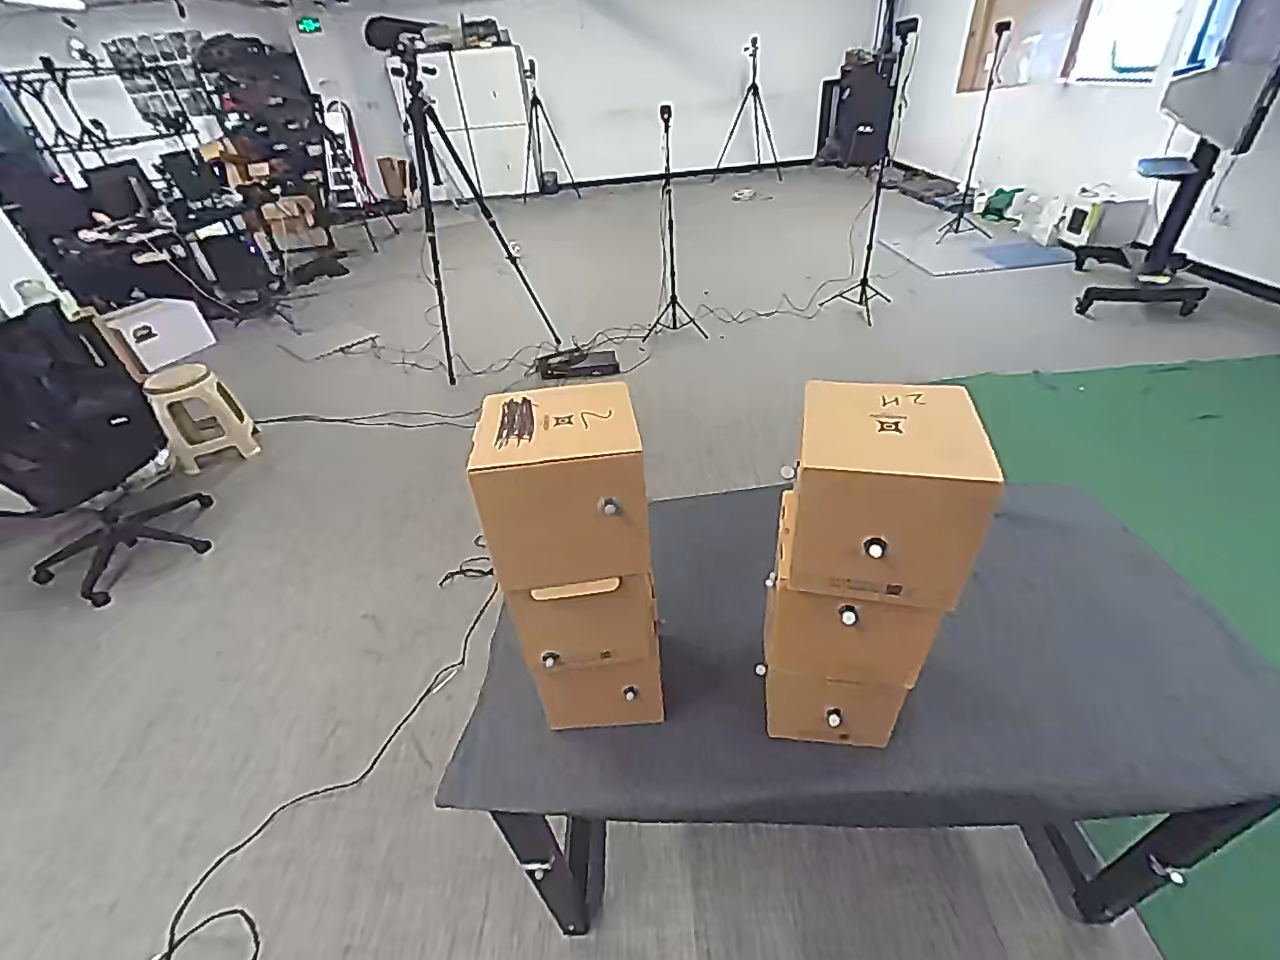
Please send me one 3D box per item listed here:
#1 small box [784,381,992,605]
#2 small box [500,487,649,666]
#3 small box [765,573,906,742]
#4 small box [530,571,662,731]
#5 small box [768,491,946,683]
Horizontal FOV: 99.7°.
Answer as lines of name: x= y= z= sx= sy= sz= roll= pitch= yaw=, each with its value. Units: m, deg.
small box: x=0.246 y=0.010 z=0.578 sx=0.168 sy=0.176 sz=0.179 roll=5 pitch=38 yaw=15
small box: x=-0.083 y=0.135 z=0.738 sx=0.168 sy=0.176 sz=0.179 roll=-7 pitch=35 yaw=-2
small box: x=0.272 y=0.259 z=0.792 sx=0.168 sy=0.176 sz=0.179 roll=0 pitch=38 yaw=10
small box: x=-0.058 y=0.265 z=0.837 sx=0.179 sy=0.176 sz=0.168 roll=-6 pitch=35 yaw=2
small box: x=0.260 y=0.134 z=0.687 sx=0.179 sy=0.176 sz=0.168 roll=3 pitch=38 yaw=14
